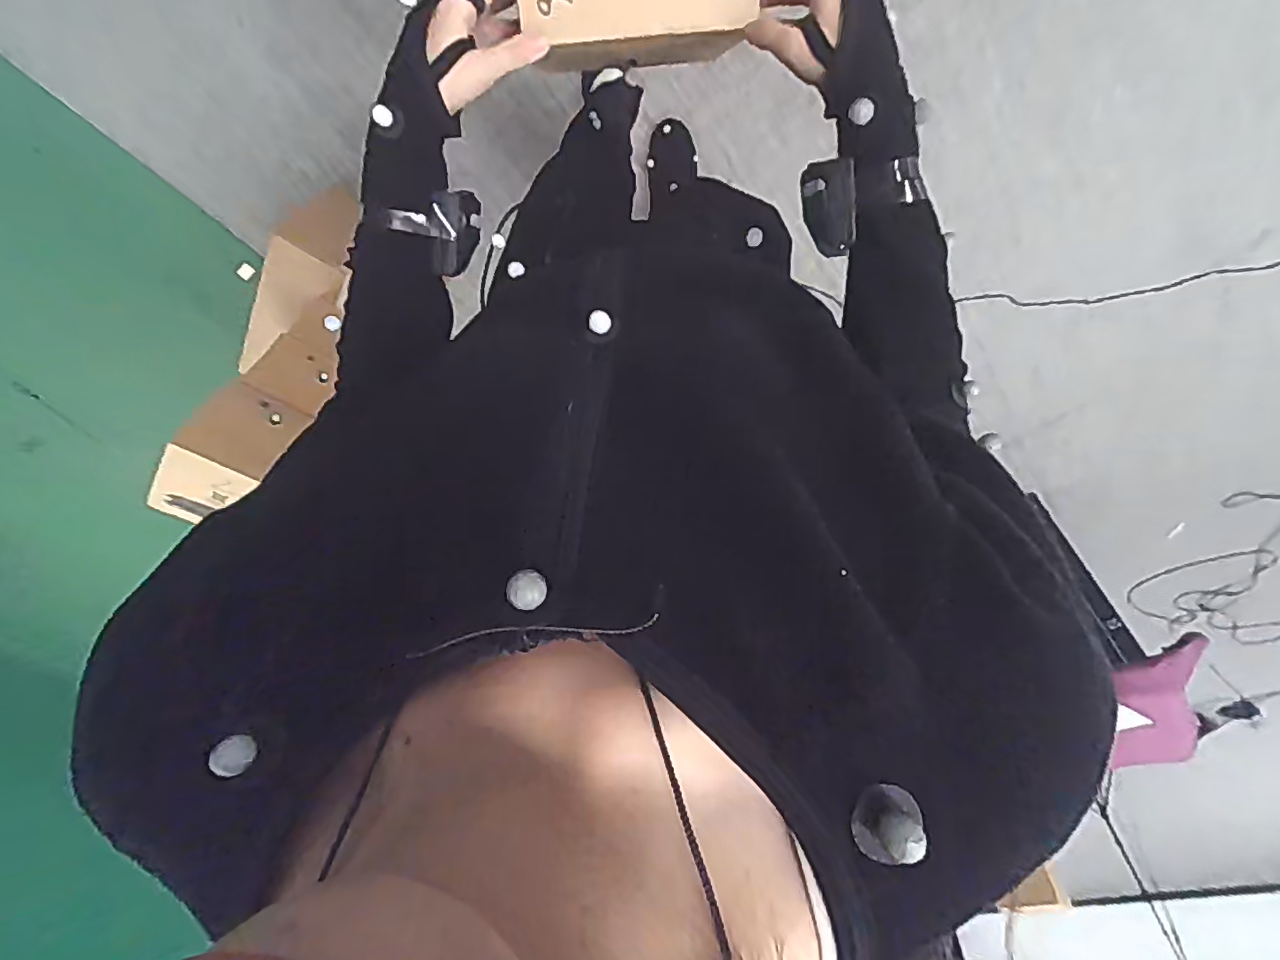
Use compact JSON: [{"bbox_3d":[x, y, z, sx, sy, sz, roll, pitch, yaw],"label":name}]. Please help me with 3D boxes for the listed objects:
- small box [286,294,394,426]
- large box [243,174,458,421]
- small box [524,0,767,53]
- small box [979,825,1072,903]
[{"bbox_3d":[-0.652,-0.255,1.138,0.179,0.176,0.168,32,127,-28],"label":"small box"},{"bbox_3d":[-0.691,-0.429,1.312,0.320,0.320,0.408,28,131,-24],"label":"large box"},{"bbox_3d":[-0.007,-0.441,0.407,0.179,0.176,0.168,-7,121,-2],"label":"small box"},{"bbox_3d":[1.199,1.205,1.697,0.179,0.176,0.168,-31,126,28],"label":"small box"}]
